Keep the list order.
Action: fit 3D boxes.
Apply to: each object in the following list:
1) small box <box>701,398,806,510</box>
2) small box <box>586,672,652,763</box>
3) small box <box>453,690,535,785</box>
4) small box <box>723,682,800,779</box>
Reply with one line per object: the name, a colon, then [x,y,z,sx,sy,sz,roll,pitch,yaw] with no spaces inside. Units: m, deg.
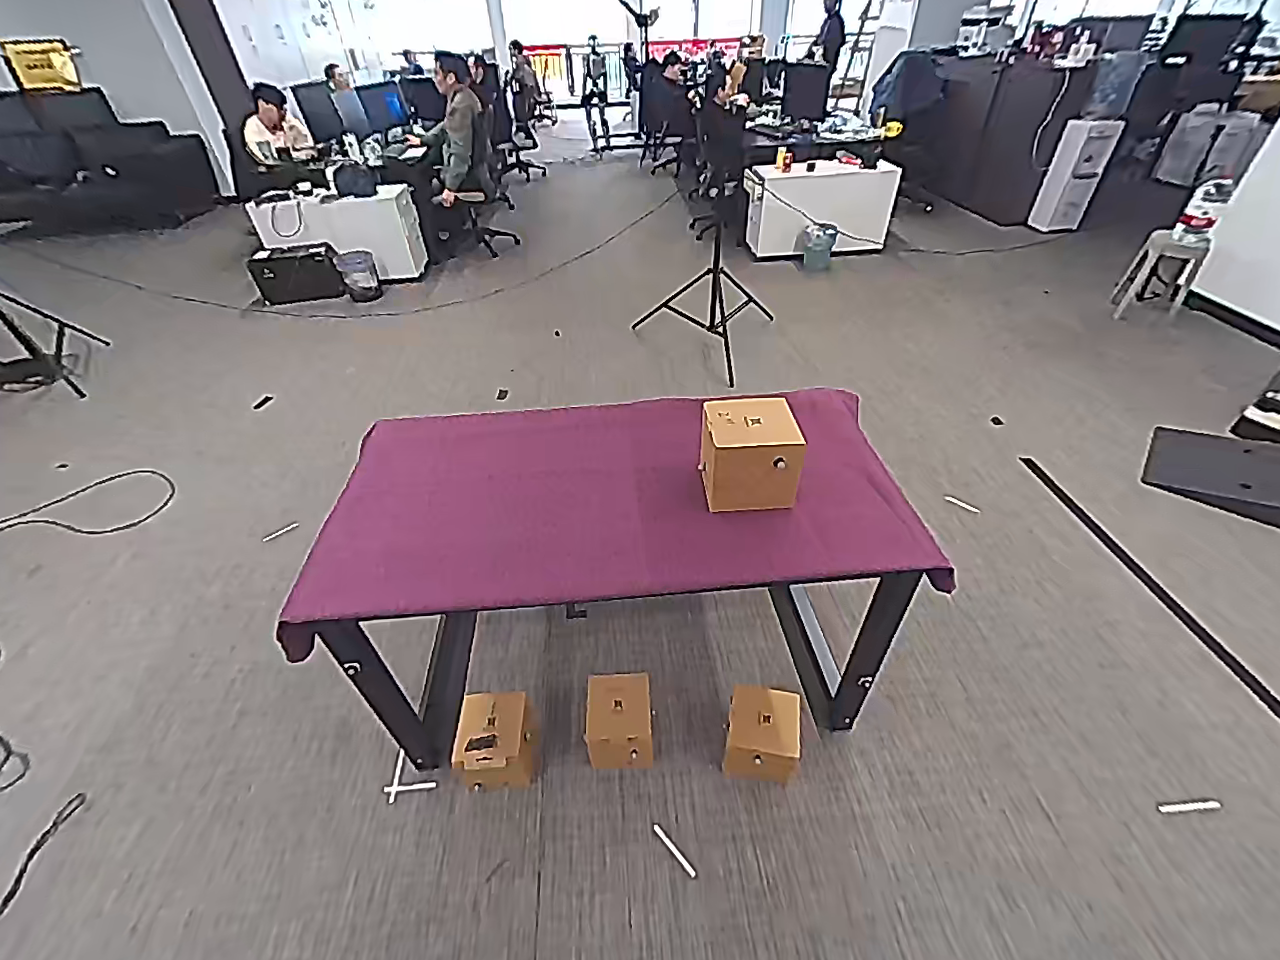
small box: [0.227,-0.053,1.127,0.179,0.176,0.168,-4,40,-1]
small box: [-0.054,0.644,1.453,0.168,0.176,0.179,-3,40,-1]
small box: [-0.374,0.681,1.422,0.168,0.176,0.179,-4,40,-2]
small box: [0.318,0.659,1.416,0.179,0.176,0.168,6,42,12]
